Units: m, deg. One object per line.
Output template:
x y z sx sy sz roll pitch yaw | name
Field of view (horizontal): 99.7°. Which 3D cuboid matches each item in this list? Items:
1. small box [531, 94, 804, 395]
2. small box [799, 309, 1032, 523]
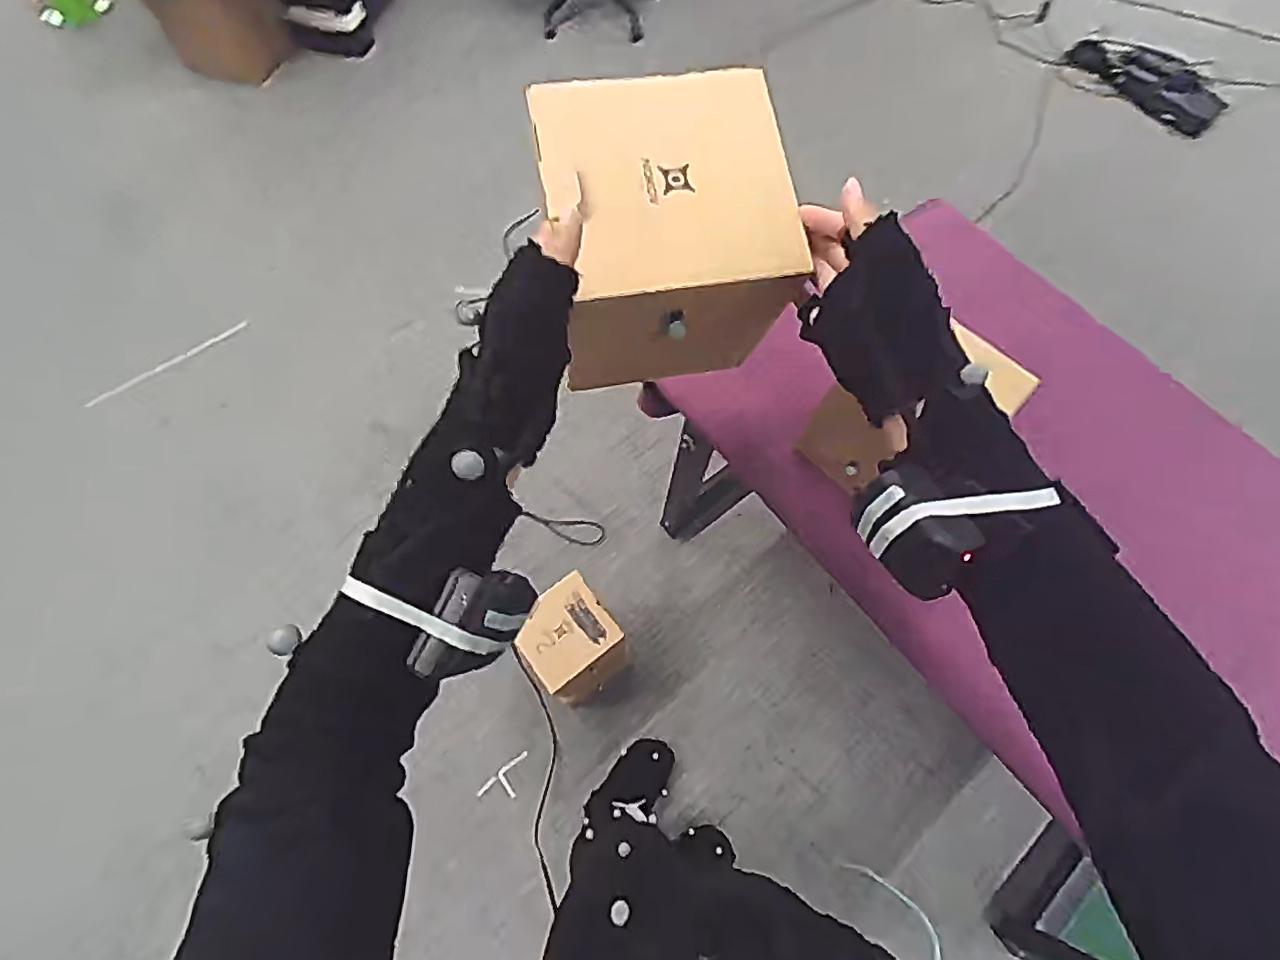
0.010 -0.184 0.462 0.179 0.176 0.168 -10 81 -8 | small box
0.336 -0.075 0.695 0.179 0.176 0.168 -40 75 -19 | small box
